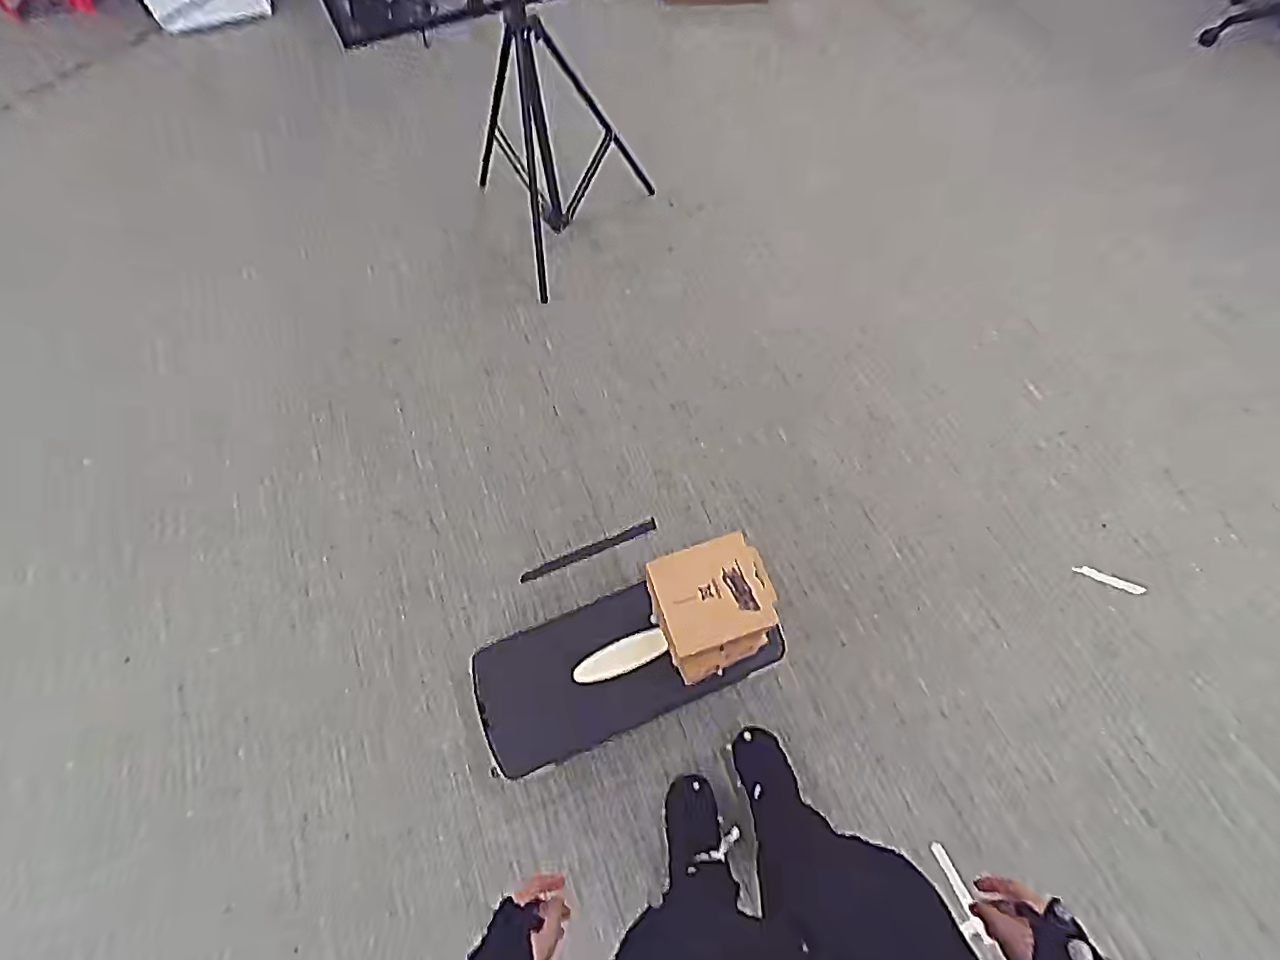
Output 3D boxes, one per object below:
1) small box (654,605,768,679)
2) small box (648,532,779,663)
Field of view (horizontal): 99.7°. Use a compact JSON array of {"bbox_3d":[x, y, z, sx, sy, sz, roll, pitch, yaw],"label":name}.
[{"bbox_3d":[0.132,0.289,1.102,0.168,0.176,0.179,-23,68,-8],"label":"small box"},{"bbox_3d":[0.119,0.212,0.956,0.179,0.176,0.168,-18,67,-5],"label":"small box"}]
